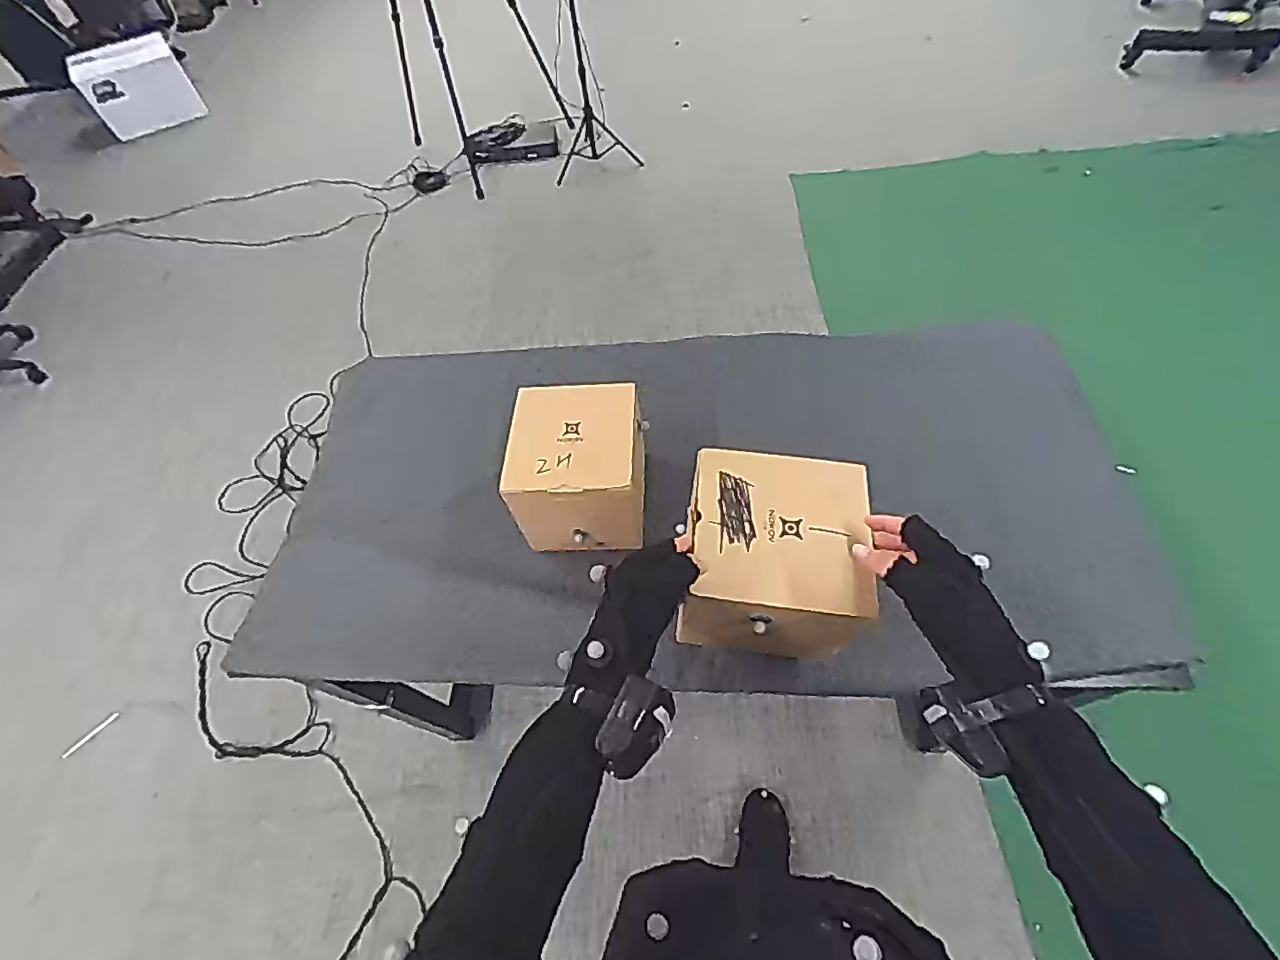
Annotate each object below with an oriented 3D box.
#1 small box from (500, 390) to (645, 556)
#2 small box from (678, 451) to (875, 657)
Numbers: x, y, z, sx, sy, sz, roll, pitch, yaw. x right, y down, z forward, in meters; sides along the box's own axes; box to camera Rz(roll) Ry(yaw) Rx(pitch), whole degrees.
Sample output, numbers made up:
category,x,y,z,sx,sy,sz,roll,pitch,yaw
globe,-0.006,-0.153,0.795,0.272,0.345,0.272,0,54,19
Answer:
category,x,y,z,sx,sy,sz,roll,pitch,yaw
small box,-0.083,-0.007,0.774,0.168,0.176,0.179,-2,56,5
small box,0.137,0.088,0.600,0.179,0.176,0.168,6,59,4
